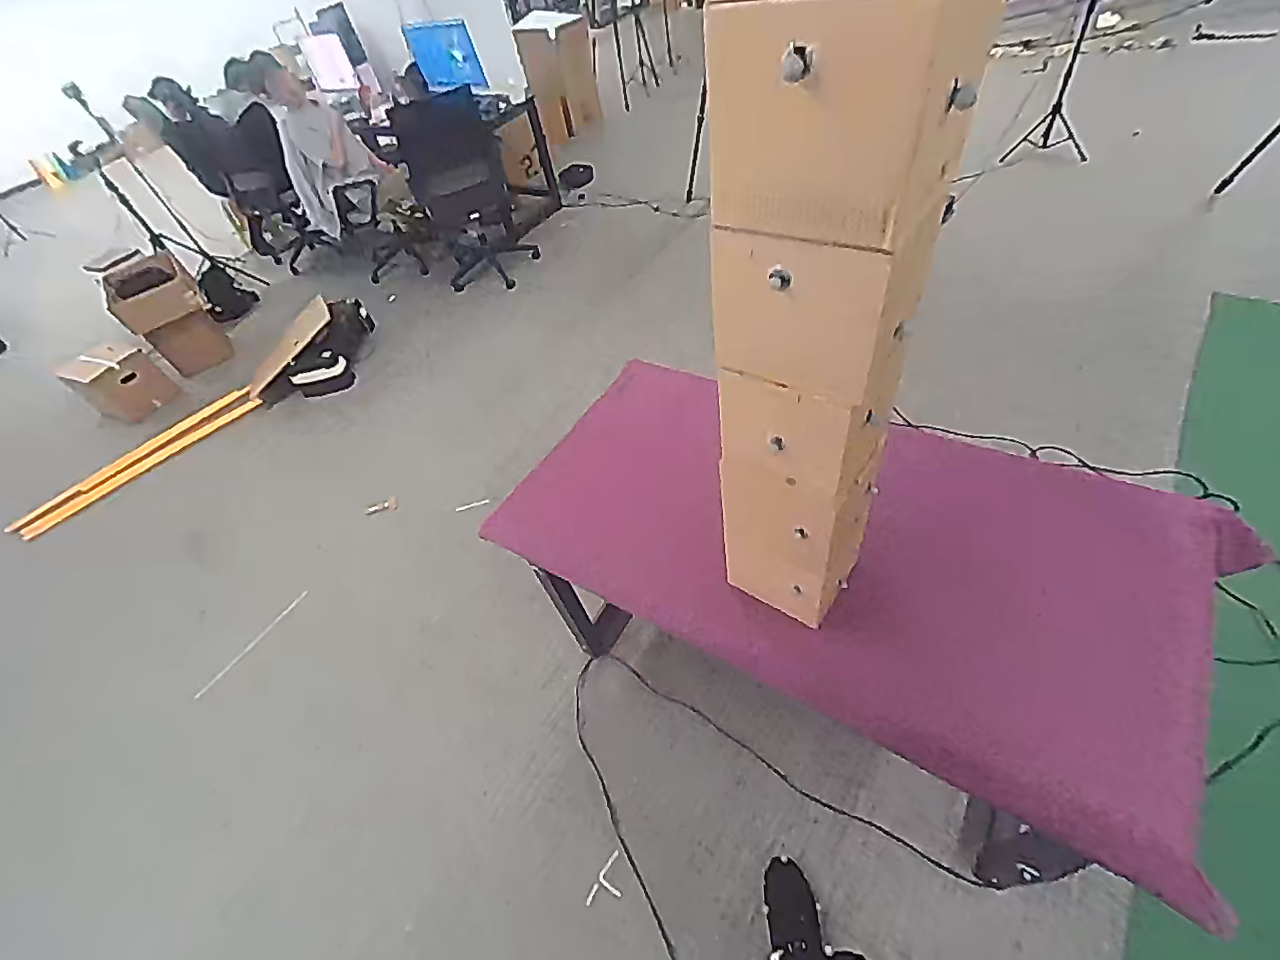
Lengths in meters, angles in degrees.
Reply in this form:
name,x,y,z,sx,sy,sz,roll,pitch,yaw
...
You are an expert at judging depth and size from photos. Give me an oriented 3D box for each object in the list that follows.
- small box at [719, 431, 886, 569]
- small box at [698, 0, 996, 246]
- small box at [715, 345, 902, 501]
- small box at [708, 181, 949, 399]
name,x,y,z,sx,sy,sz,roll,pitch,yaw
small box,0.239,0.009,0.814,0.179,0.176,0.168,25,59,31
small box,0.171,-0.318,0.456,0.179,0.176,0.168,24,57,30
small box,0.216,-0.102,0.697,0.168,0.176,0.179,26,59,30
small box,0.191,-0.211,0.577,0.179,0.176,0.168,24,58,28
